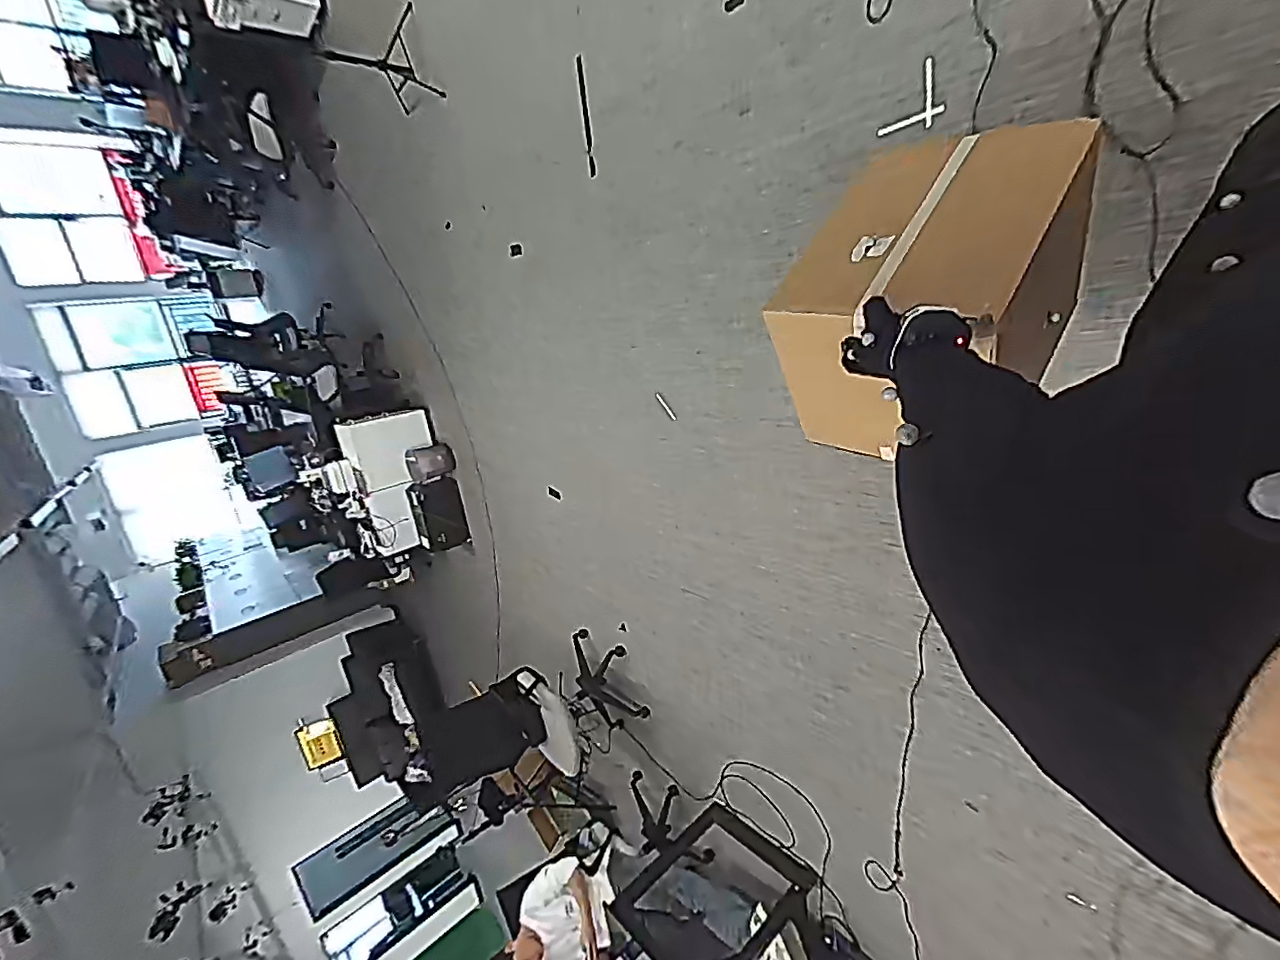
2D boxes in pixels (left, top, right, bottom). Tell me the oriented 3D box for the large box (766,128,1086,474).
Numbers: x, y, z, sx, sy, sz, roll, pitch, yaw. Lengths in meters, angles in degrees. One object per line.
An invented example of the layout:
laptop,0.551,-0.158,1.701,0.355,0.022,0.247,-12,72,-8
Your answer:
large box,0.466,-0.282,0.883,0.320,0.408,0.320,18,156,42
